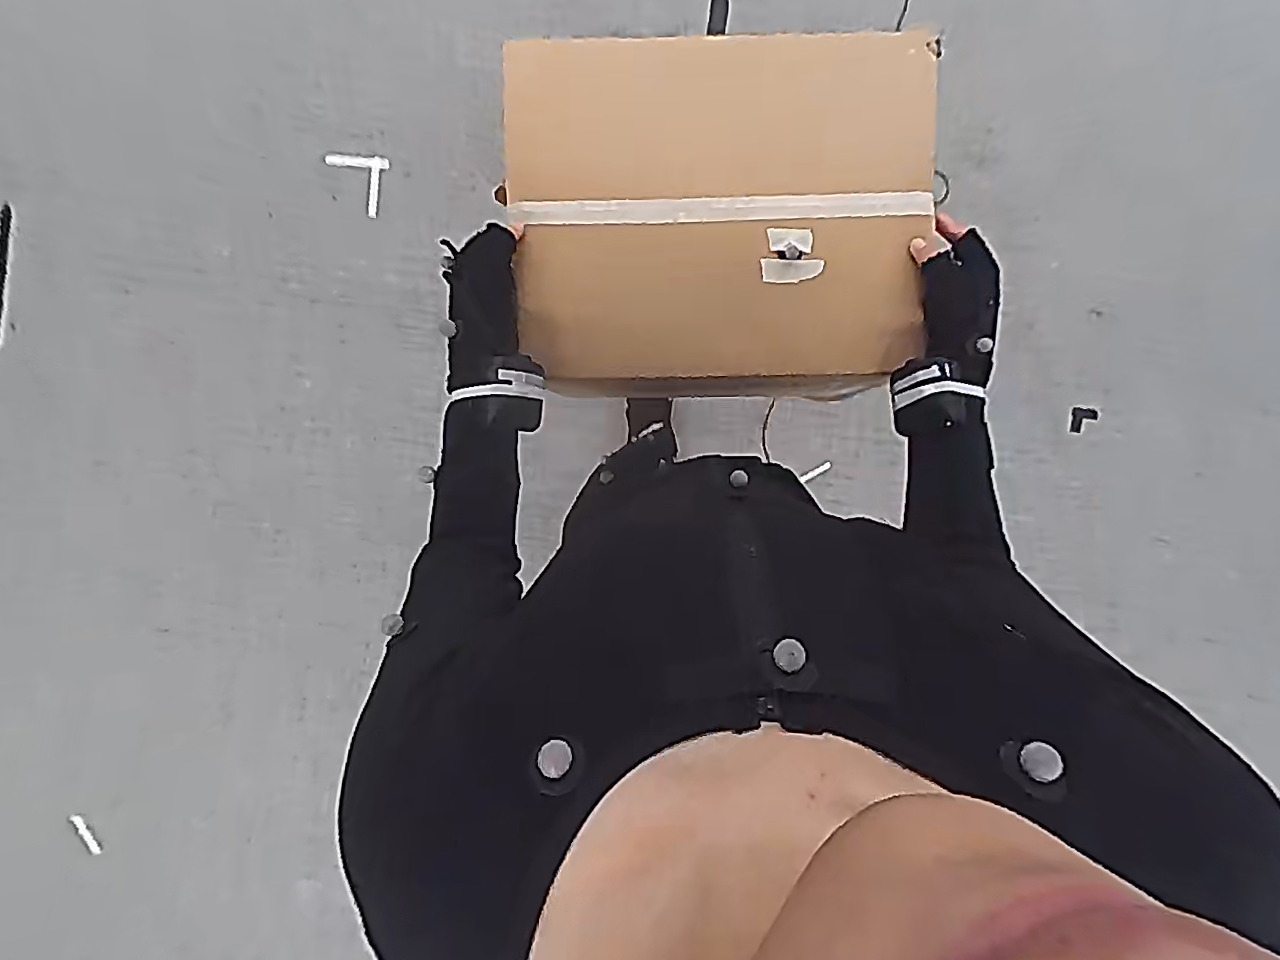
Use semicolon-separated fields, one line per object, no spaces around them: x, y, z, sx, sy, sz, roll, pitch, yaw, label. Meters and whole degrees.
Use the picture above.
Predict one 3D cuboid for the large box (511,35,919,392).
0.075;-0.285;0.685;0.408;0.320;0.320;-1;96;0;large box
